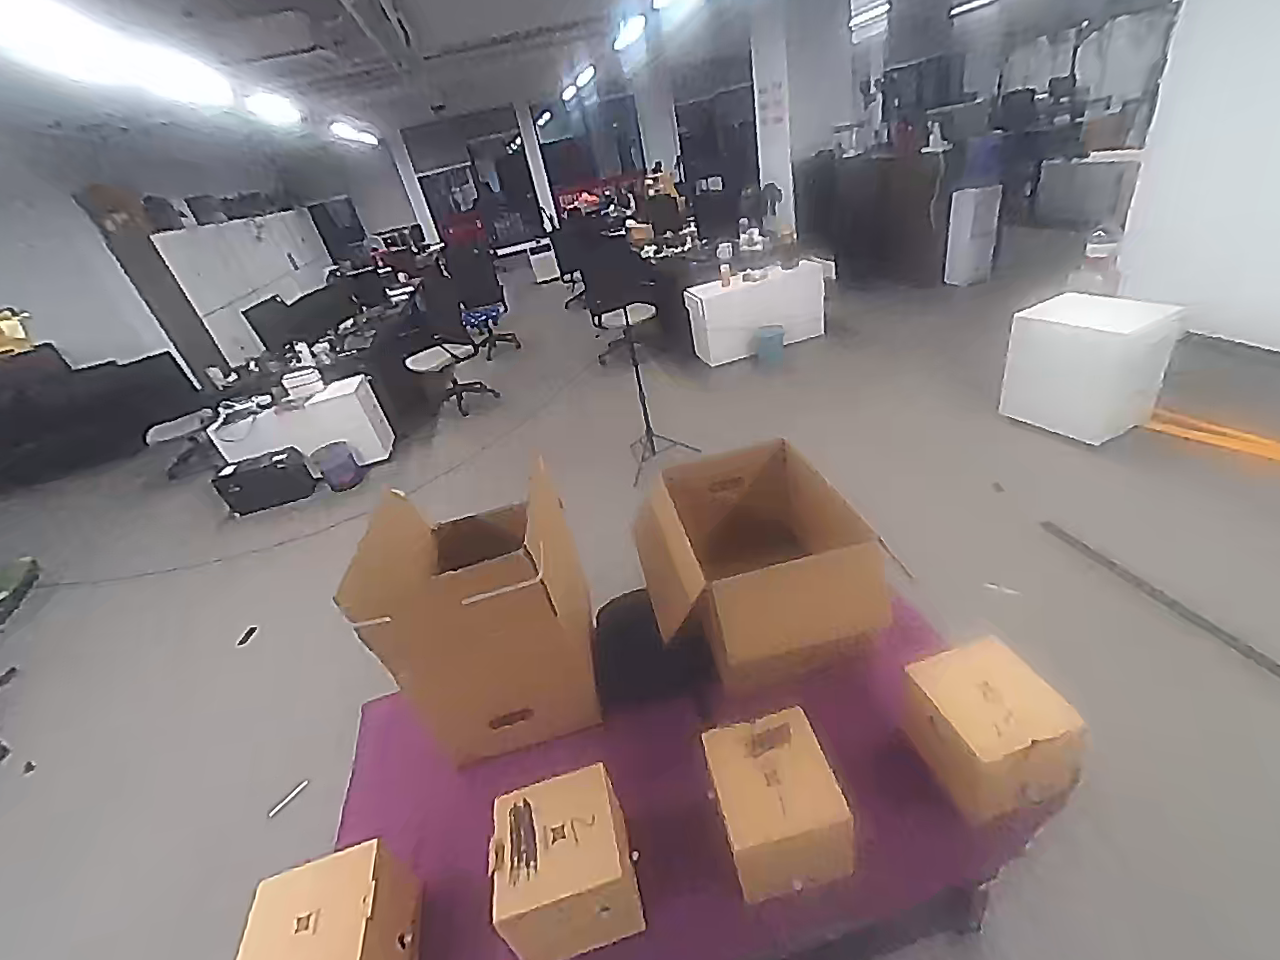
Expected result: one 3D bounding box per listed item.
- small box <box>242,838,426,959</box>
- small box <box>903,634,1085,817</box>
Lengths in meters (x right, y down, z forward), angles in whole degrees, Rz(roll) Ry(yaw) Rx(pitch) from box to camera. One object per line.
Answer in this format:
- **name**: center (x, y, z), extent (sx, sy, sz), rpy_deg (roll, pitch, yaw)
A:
- **small box**: center (-0.432, 0.668, 0.777), extent (0.179, 0.176, 0.168), rpy_deg (-16, 31, -8)
- **small box**: center (0.538, 0.383, 0.853), extent (0.168, 0.176, 0.179), rpy_deg (-18, 32, -4)
